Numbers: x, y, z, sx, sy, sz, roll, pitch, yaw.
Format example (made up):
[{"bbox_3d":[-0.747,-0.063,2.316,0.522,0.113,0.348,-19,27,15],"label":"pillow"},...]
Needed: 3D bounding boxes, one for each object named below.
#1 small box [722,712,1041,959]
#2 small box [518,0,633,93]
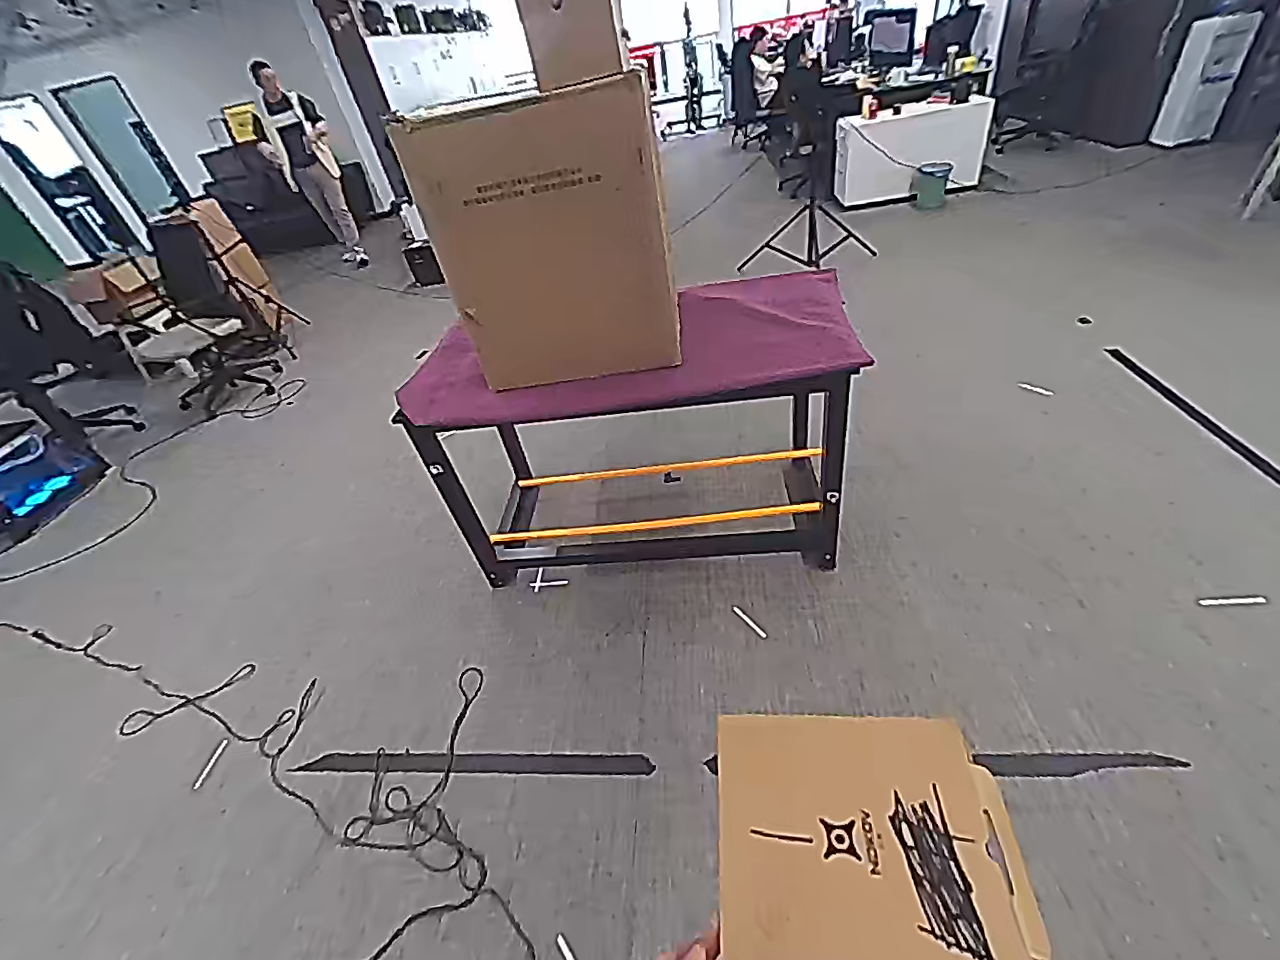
[{"bbox_3d":[0.153,0.291,0.402,0.179,0.176,0.168,-3,43,10],"label":"small box"},{"bbox_3d":[-0.121,-0.874,1.048,0.179,0.176,0.168,-6,40,9],"label":"small box"}]
